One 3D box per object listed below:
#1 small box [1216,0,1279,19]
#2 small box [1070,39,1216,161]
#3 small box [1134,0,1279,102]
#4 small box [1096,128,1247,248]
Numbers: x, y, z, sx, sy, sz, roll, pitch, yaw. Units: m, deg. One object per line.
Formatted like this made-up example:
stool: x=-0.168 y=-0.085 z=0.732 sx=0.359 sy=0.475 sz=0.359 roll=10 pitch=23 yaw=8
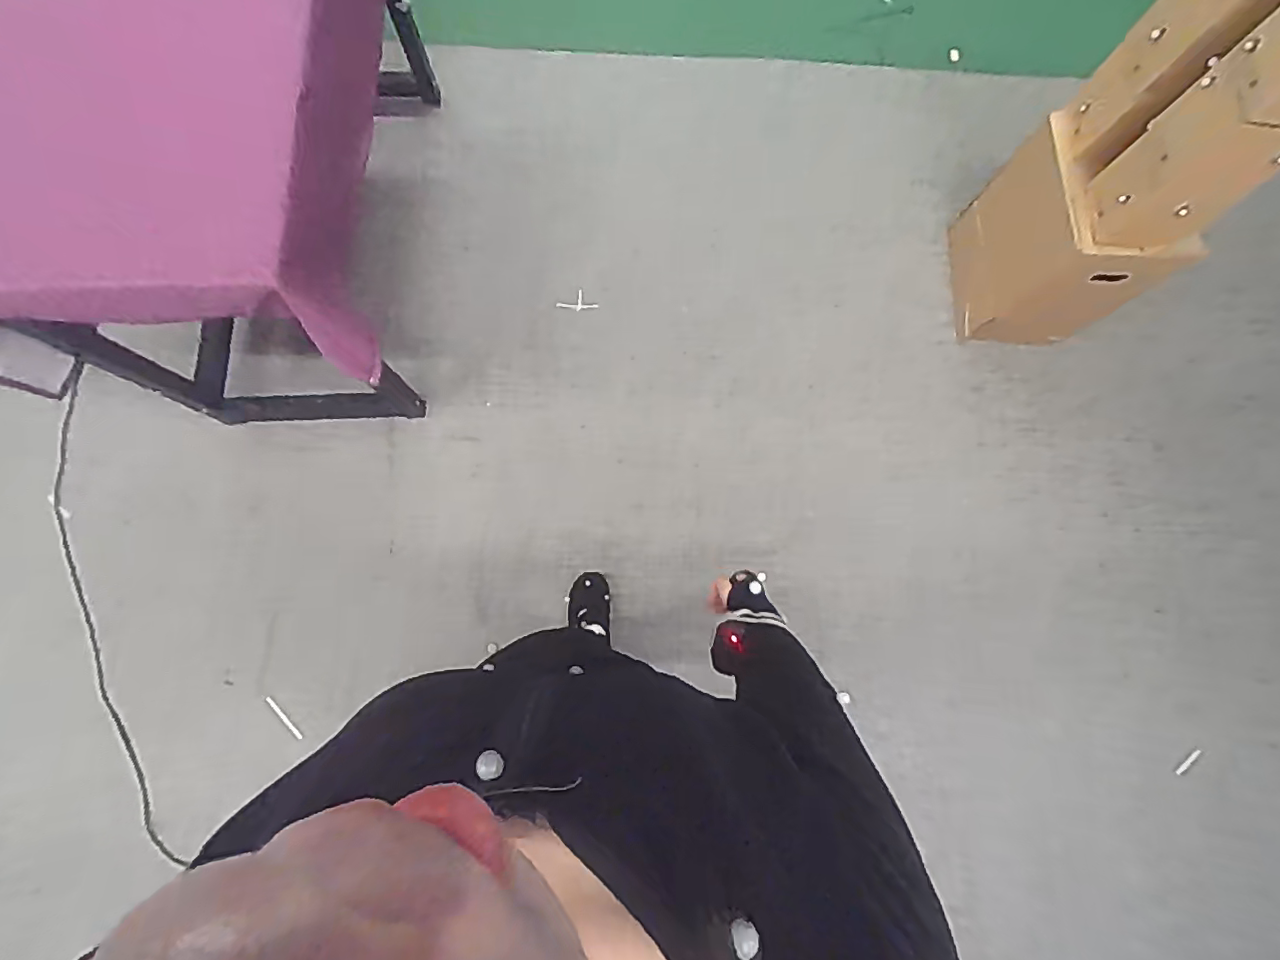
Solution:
small box: x=1.162 y=-0.944 z=0.934 sx=0.179 sy=0.176 sz=0.168 roll=3 pitch=78 yaw=0
small box: x=1.157 y=-0.873 z=1.256 sx=0.179 sy=0.176 sz=0.168 roll=2 pitch=79 yaw=0
small box: x=1.156 y=-0.908 z=1.096 sx=0.179 sy=0.176 sz=0.168 roll=3 pitch=79 yaw=0
small box: x=1.164 y=-0.642 z=1.204 sx=0.179 sy=0.176 sz=0.168 roll=5 pitch=77 yaw=-1
